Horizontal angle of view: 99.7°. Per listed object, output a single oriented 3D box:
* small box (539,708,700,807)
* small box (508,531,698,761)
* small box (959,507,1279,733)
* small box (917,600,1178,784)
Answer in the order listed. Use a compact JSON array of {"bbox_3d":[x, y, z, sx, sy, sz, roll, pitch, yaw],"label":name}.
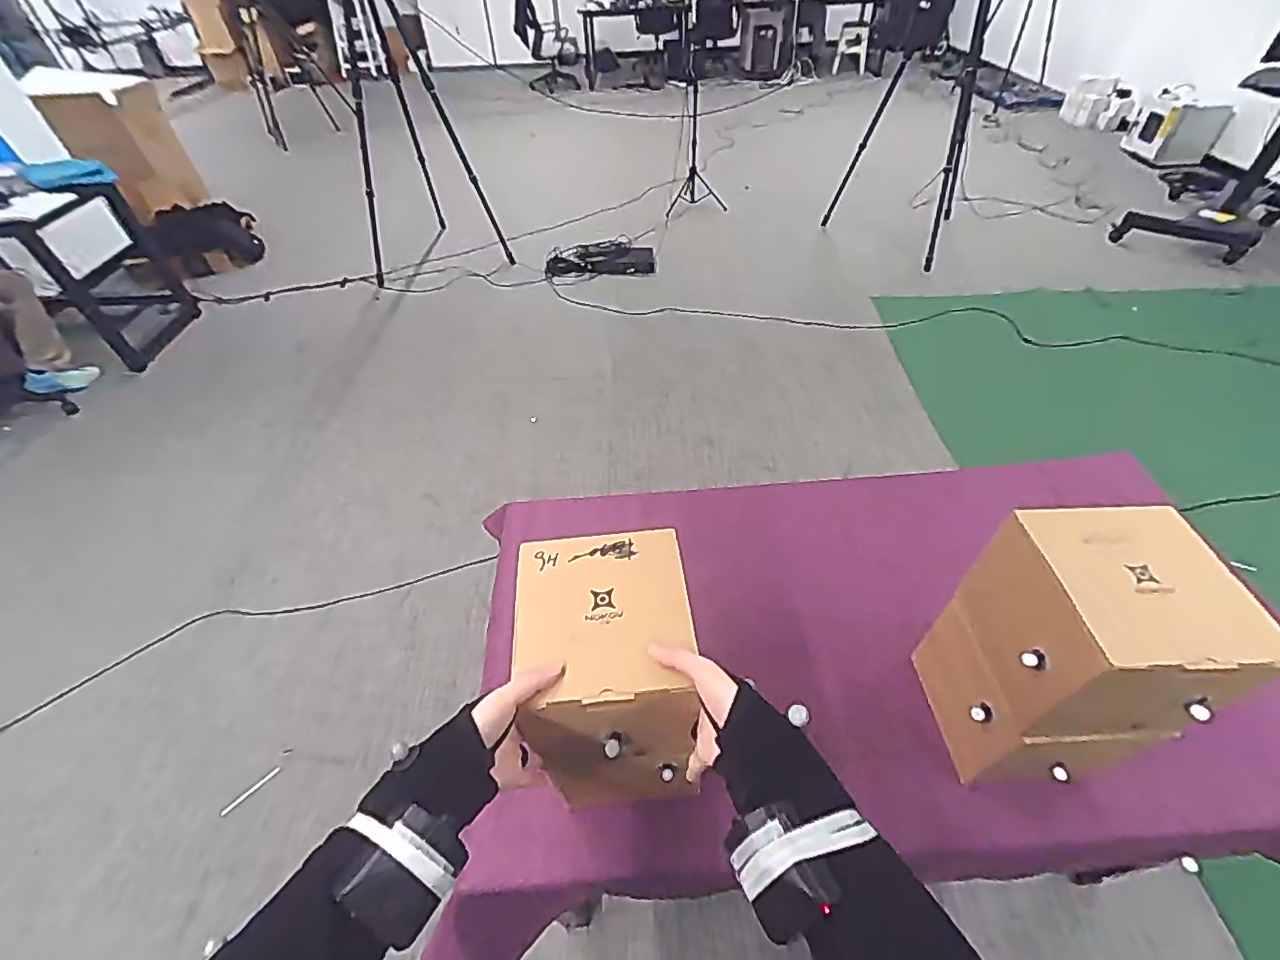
[{"bbox_3d":[-0.022,0.295,0.683,0.179,0.176,0.168,-5,45,-2],"label":"small box"},{"bbox_3d":[-0.034,0.178,0.568,0.168,0.176,0.179,-5,46,-3],"label":"small box"},{"bbox_3d":[0.472,0.148,0.561,0.168,0.176,0.179,-1,45,2],"label":"small box"},{"bbox_3d":[0.480,0.265,0.675,0.168,0.176,0.179,-3,45,1],"label":"small box"}]
